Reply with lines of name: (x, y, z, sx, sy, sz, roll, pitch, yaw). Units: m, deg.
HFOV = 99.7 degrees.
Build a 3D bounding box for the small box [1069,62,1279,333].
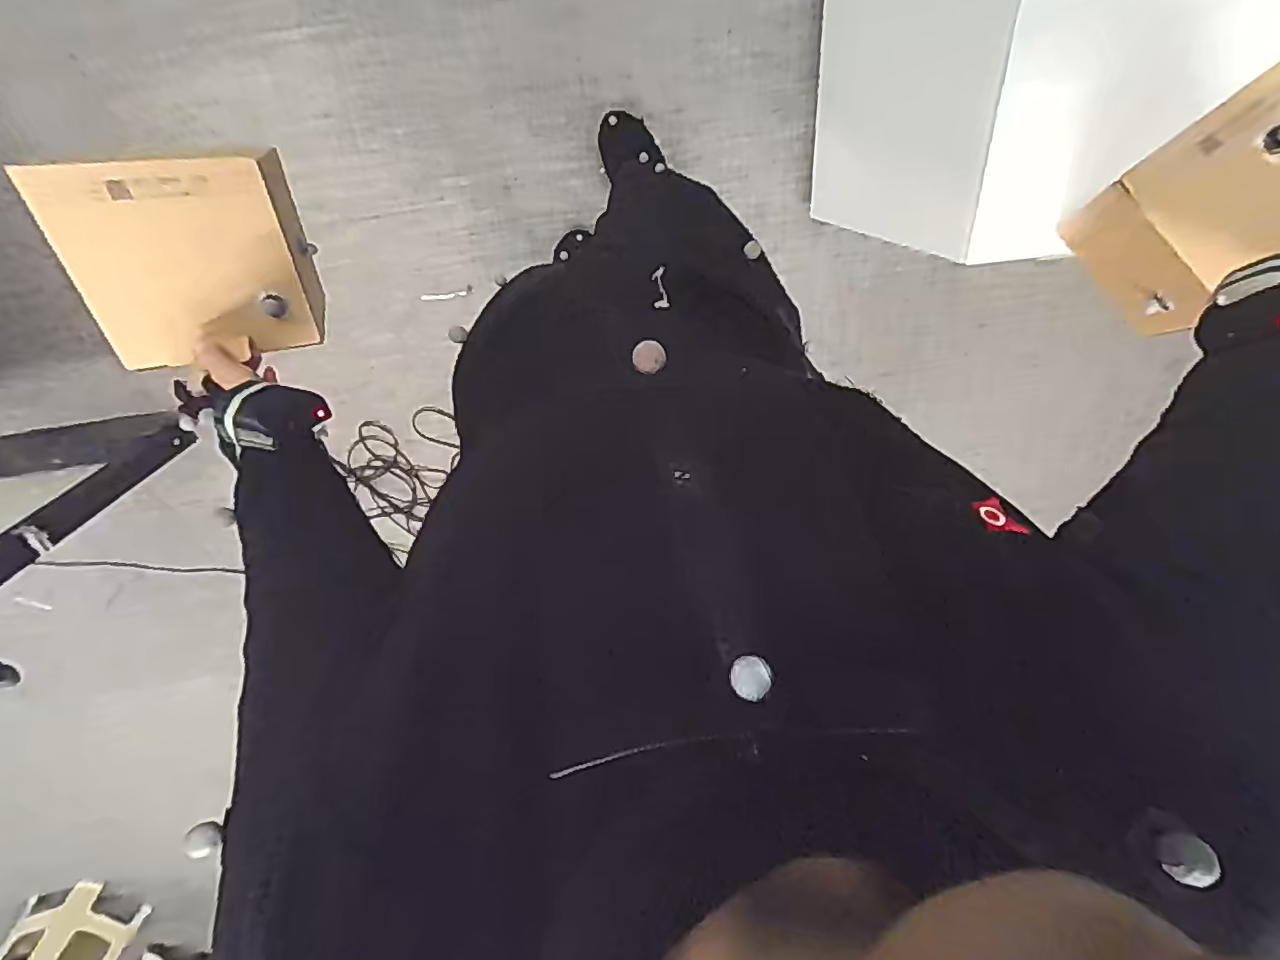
small box: (0.574, -0.269, 0.529, 0.168, 0.179, 0.176, -37, 83, 24)
